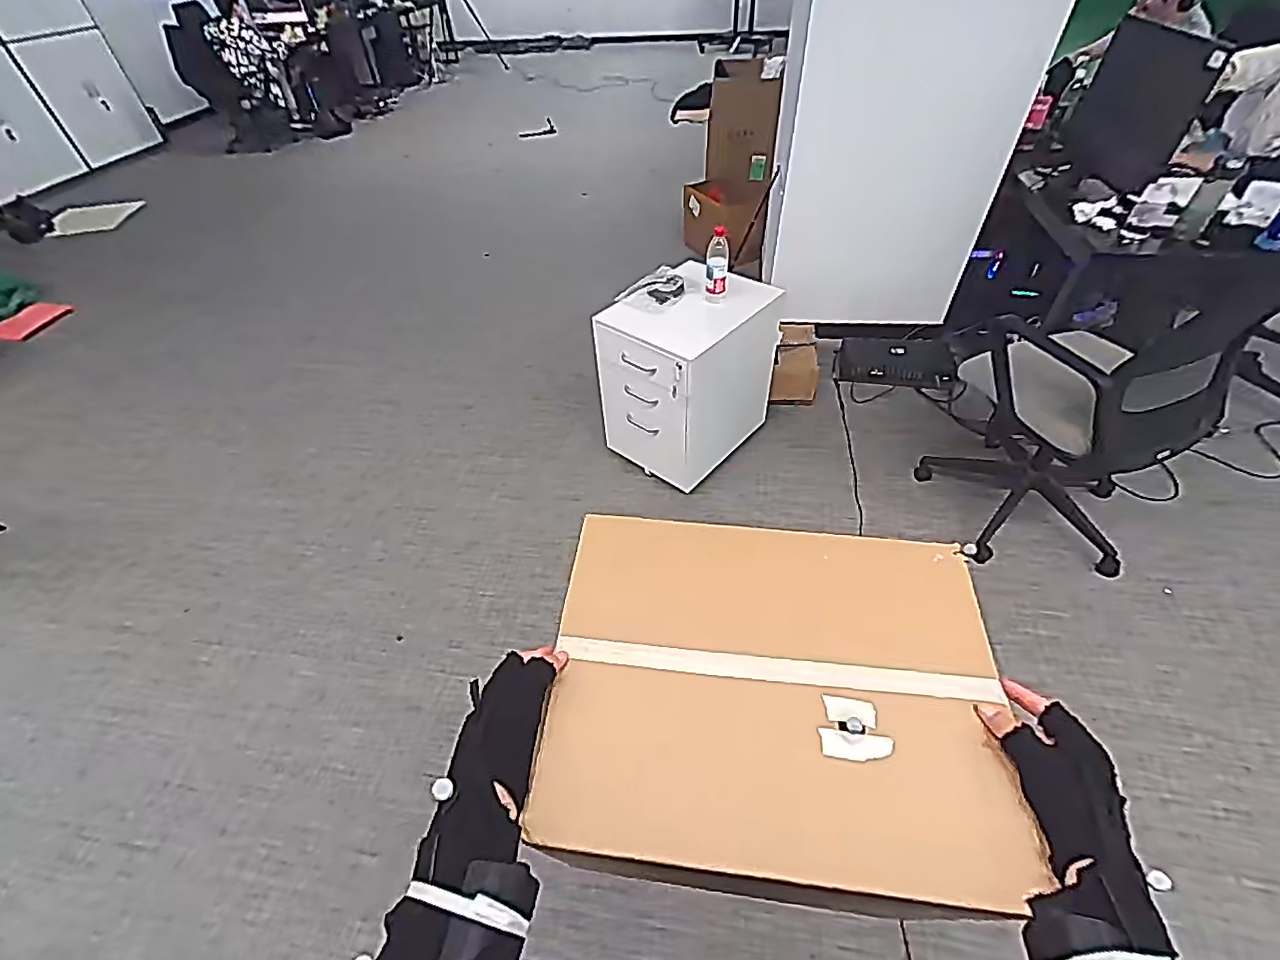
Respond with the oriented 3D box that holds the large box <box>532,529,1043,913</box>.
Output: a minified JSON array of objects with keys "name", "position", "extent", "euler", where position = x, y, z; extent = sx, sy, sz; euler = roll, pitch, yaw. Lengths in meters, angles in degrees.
[{"name":"large box","position":[0.126,0.281,0.628],"extent":[0.408,0.320,0.320],"euler":[4,52,6]}]
